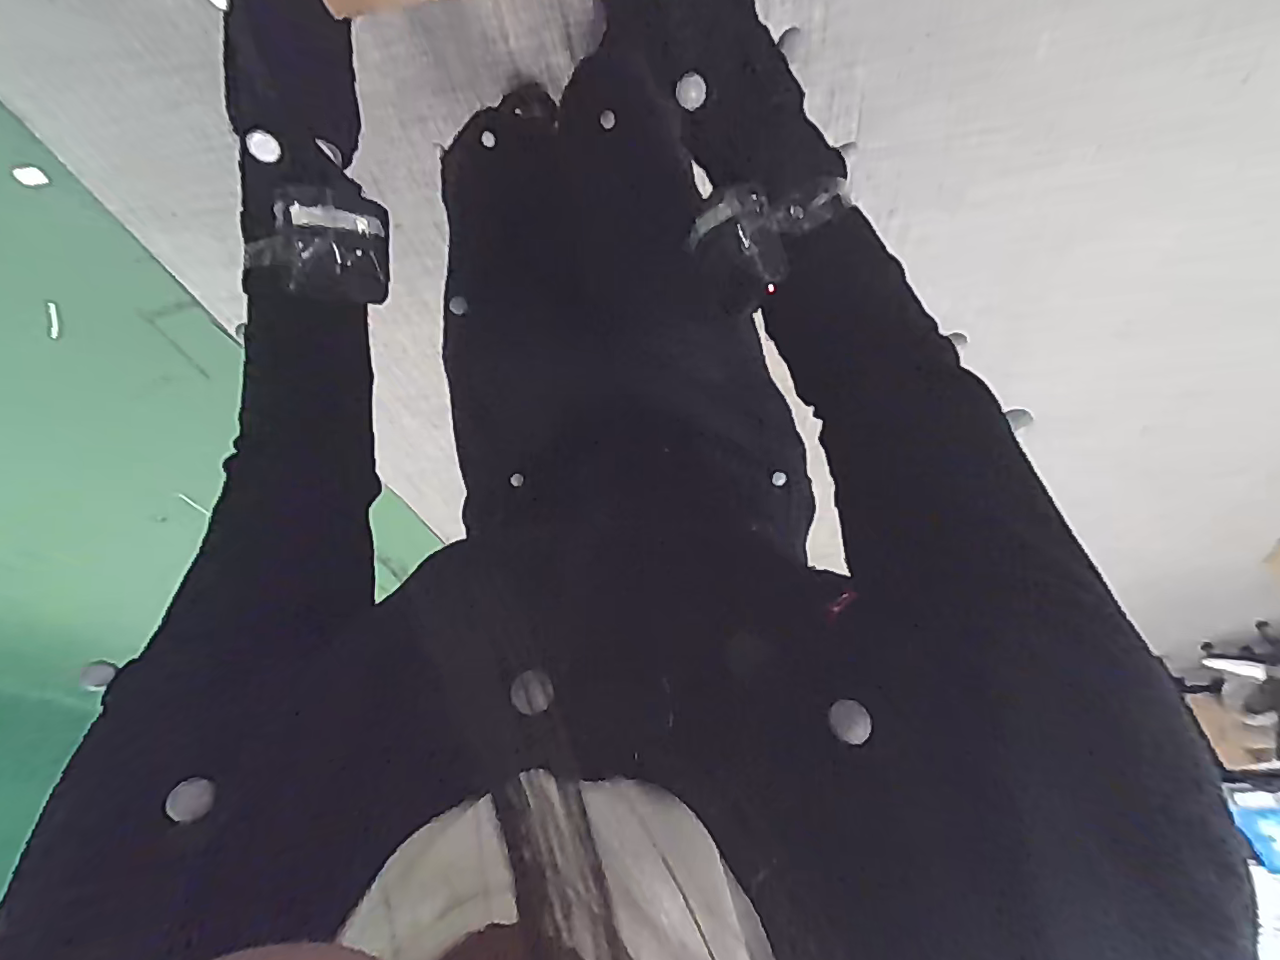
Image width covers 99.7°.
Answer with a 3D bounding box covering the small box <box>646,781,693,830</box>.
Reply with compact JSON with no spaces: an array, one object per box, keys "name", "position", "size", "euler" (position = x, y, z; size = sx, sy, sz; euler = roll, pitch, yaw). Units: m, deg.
[{"name":"small box","position":[0.128,1.396,2.316],"size":[0.179,0.176,0.168],"euler":[-9,144,11]}]
